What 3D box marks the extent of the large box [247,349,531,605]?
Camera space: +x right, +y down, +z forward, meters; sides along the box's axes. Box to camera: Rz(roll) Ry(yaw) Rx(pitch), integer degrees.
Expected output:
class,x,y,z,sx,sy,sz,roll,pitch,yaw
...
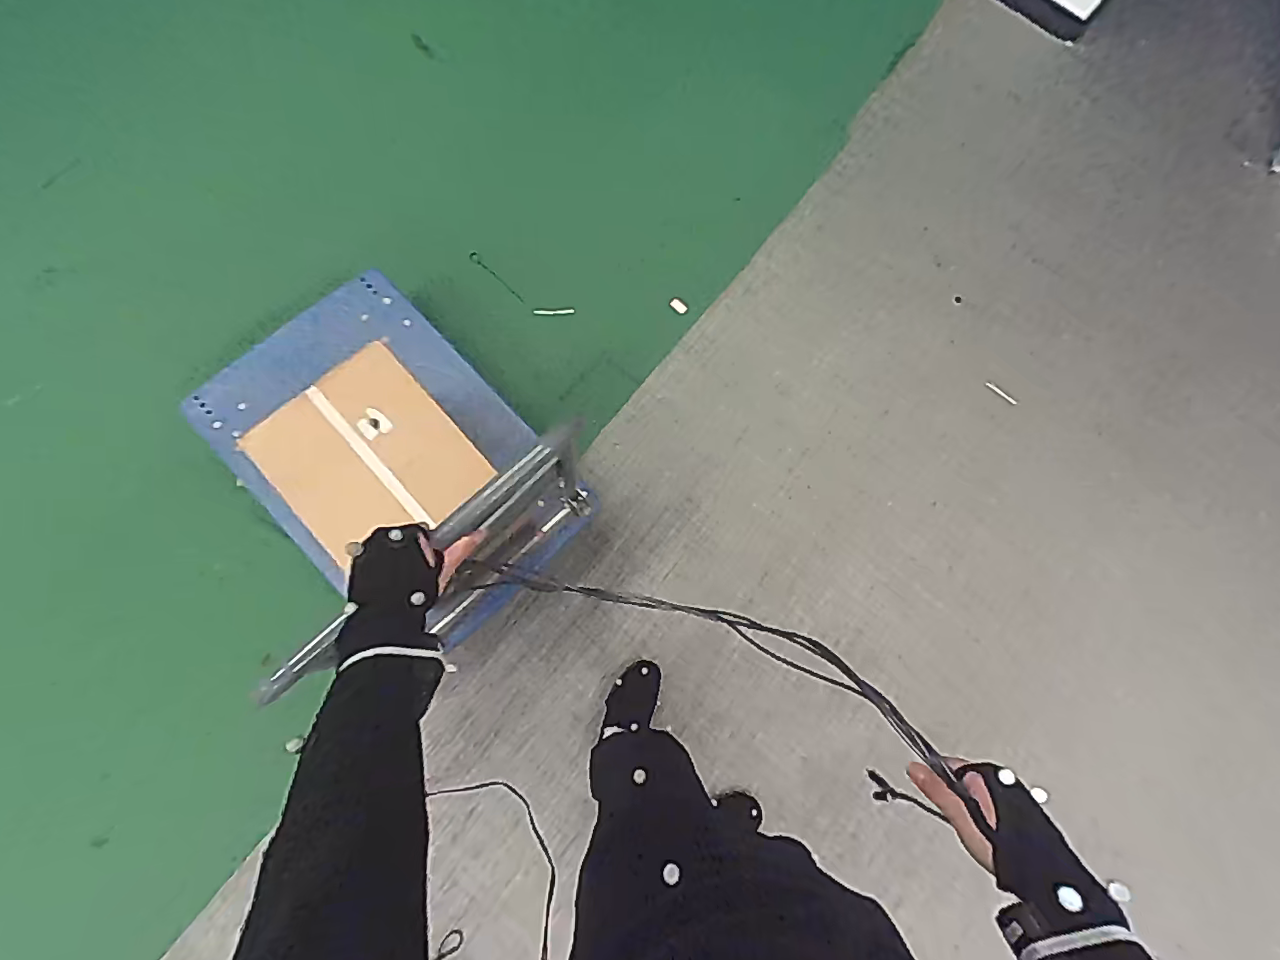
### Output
class,x,y,z,sx,sy,sz,roll,pitch,yaw
large box,-0.491,0.015,1.148,0.320,0.320,0.408,-41,82,-13
